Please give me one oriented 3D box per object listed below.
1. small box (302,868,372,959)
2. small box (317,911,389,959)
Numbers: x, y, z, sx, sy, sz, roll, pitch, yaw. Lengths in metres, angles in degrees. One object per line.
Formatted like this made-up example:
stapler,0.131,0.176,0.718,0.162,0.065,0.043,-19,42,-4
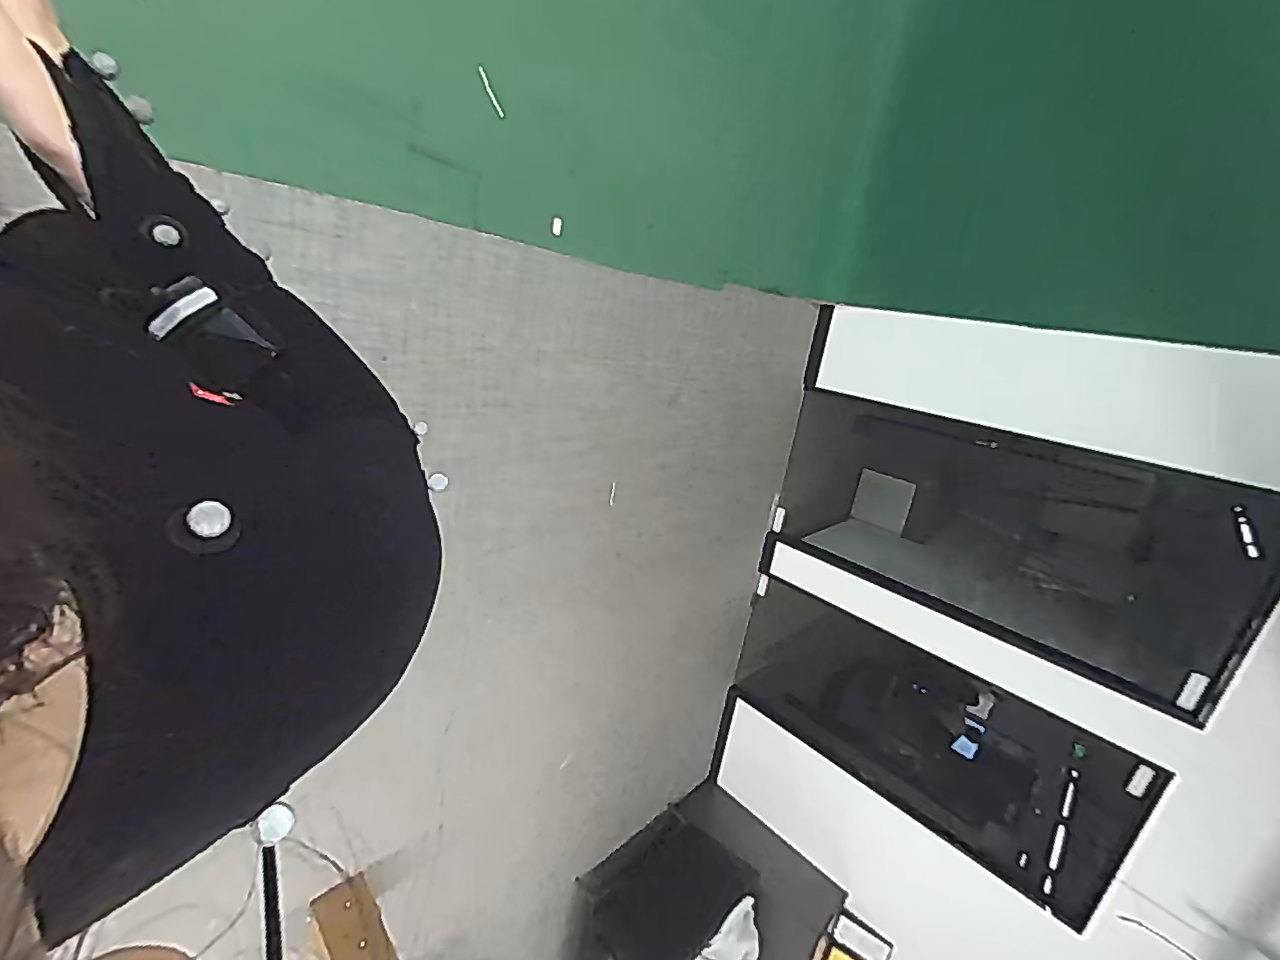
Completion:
small box,-1.060,1.523,1.887,0.179,0.176,0.168,-8,116,-47
small box,-0.948,1.579,1.780,0.168,0.176,0.179,-7,115,-46
